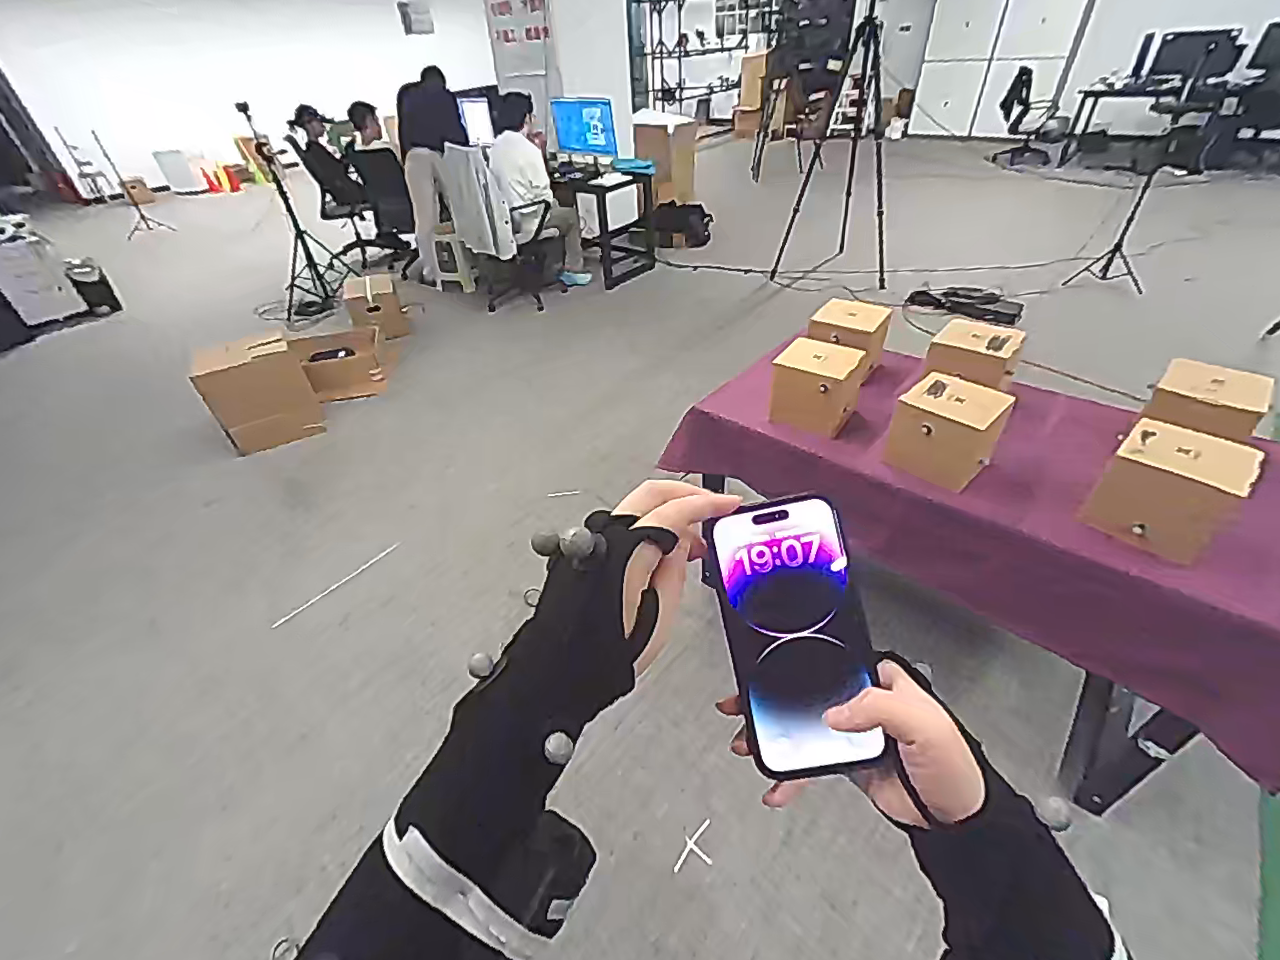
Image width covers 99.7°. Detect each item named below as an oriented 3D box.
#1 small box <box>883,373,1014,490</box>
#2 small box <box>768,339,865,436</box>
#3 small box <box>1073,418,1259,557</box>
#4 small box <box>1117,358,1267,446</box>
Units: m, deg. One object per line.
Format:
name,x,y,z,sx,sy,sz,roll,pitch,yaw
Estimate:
small box,0.662,-0.106,1.181,0.168,0.176,0.179,-32,47,-30
small box,0.437,-0.232,1.359,0.179,0.176,0.168,23,46,28
small box,0.962,0.018,1.000,0.168,0.176,0.179,-31,46,-29
small box,1.180,-0.135,1.165,0.168,0.176,0.179,30,51,35
